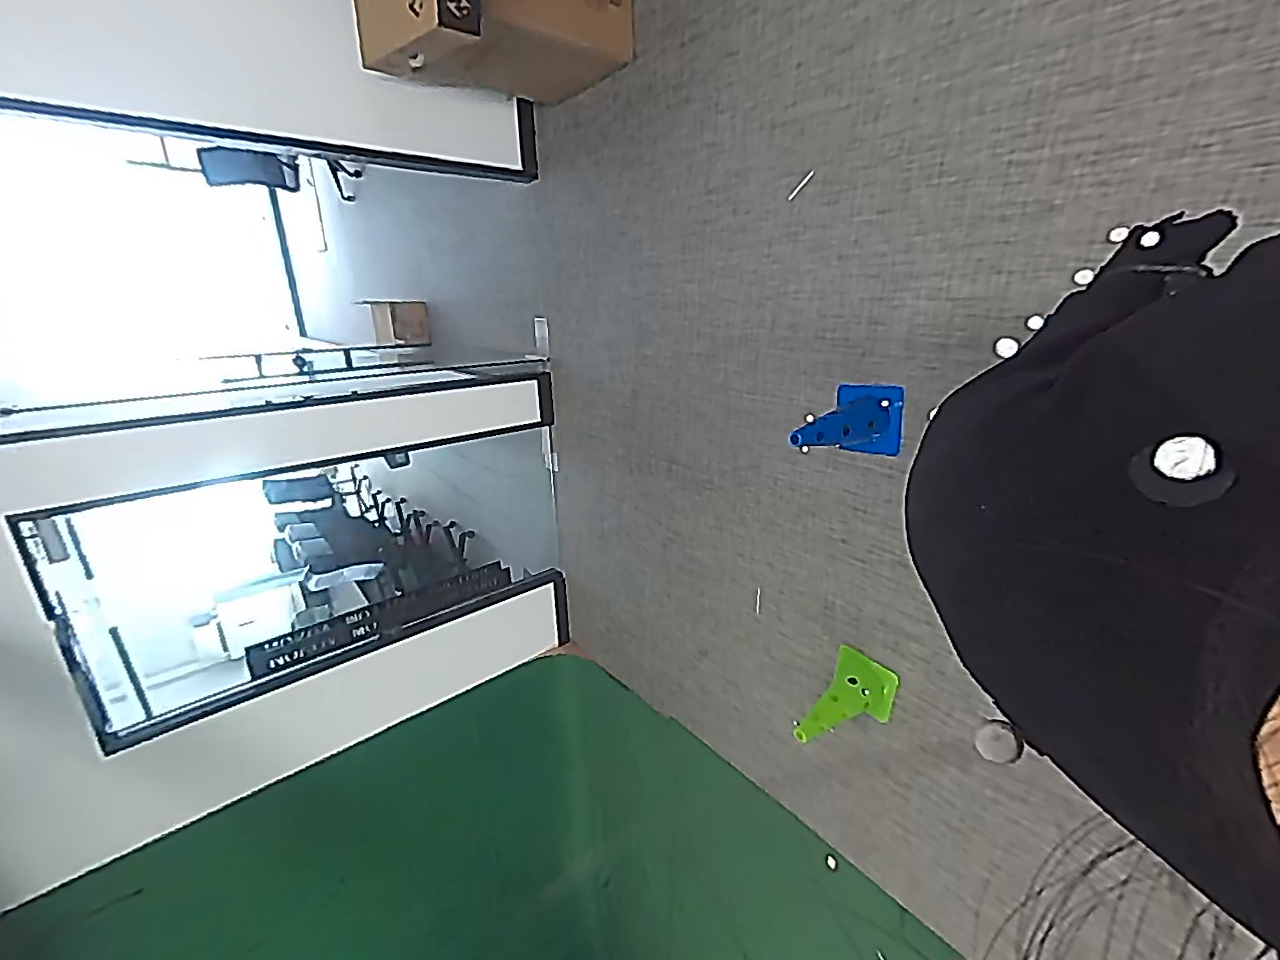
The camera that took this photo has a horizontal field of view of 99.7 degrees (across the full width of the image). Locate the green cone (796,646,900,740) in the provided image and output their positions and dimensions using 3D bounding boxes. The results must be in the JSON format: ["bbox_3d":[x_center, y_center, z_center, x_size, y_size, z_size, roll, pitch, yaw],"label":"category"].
[{"bbox_3d":[0.603,0.698,1.655,0.200,0.368,0.202,24,120,46],"label":"green cone"}]
